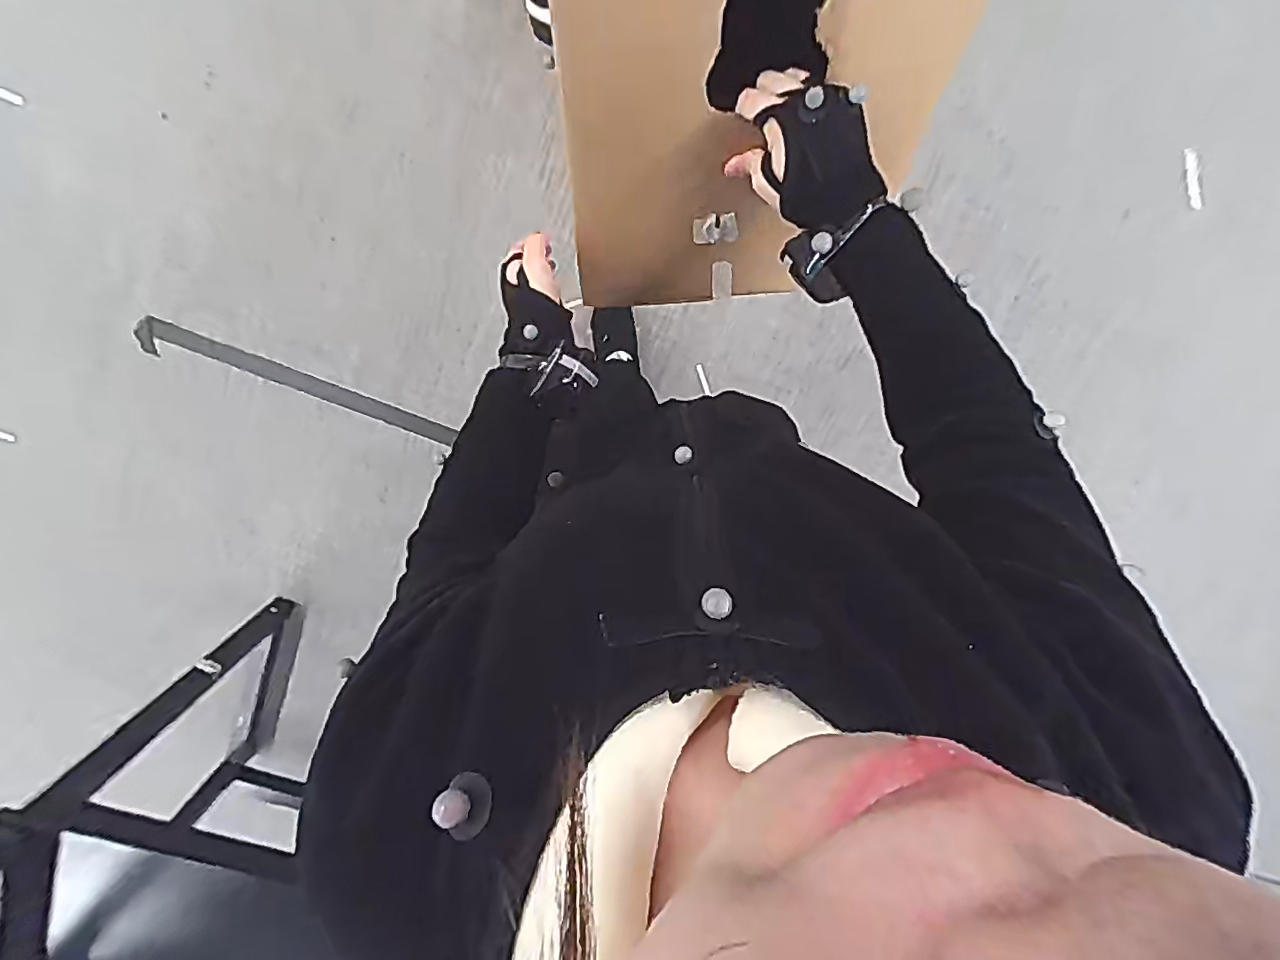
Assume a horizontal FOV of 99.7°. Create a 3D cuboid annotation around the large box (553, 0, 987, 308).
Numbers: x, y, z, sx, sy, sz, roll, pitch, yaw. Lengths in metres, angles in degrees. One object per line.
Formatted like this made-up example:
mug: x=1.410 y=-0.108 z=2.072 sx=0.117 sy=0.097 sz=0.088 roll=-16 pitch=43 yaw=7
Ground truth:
large box: x=0.073 y=-0.441 z=0.552 sx=0.320 sy=0.320 sz=0.408 roll=-5 pitch=62 yaw=-4
